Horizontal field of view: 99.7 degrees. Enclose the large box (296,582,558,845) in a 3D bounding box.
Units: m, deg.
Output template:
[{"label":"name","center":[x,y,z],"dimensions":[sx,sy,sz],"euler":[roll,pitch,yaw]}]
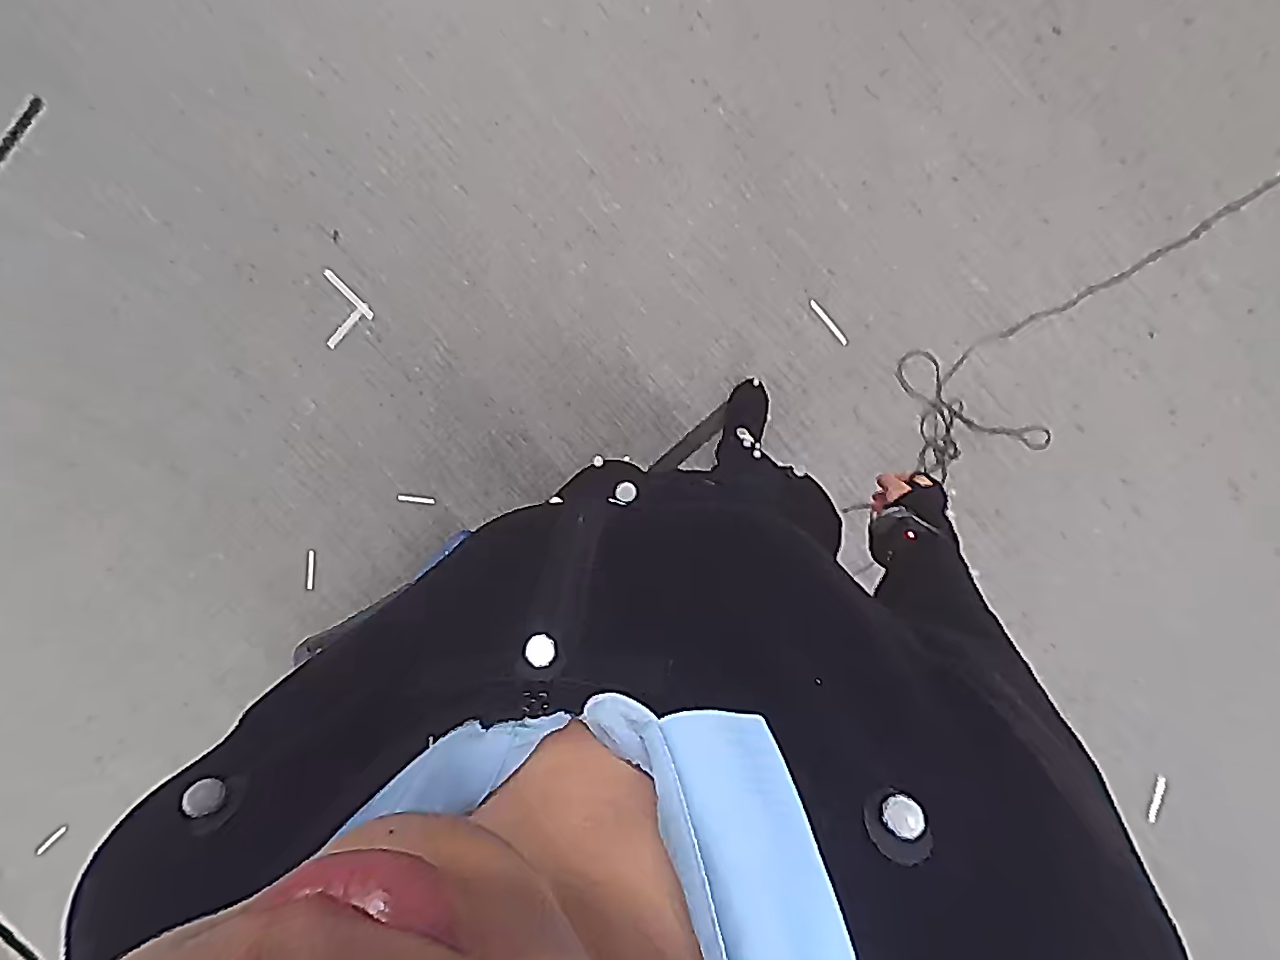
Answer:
[{"label":"large box","center":[-0.461,0.514,1.257],"dimensions":[0.408,0.320,0.320],"euler":[42,97,-1]}]
